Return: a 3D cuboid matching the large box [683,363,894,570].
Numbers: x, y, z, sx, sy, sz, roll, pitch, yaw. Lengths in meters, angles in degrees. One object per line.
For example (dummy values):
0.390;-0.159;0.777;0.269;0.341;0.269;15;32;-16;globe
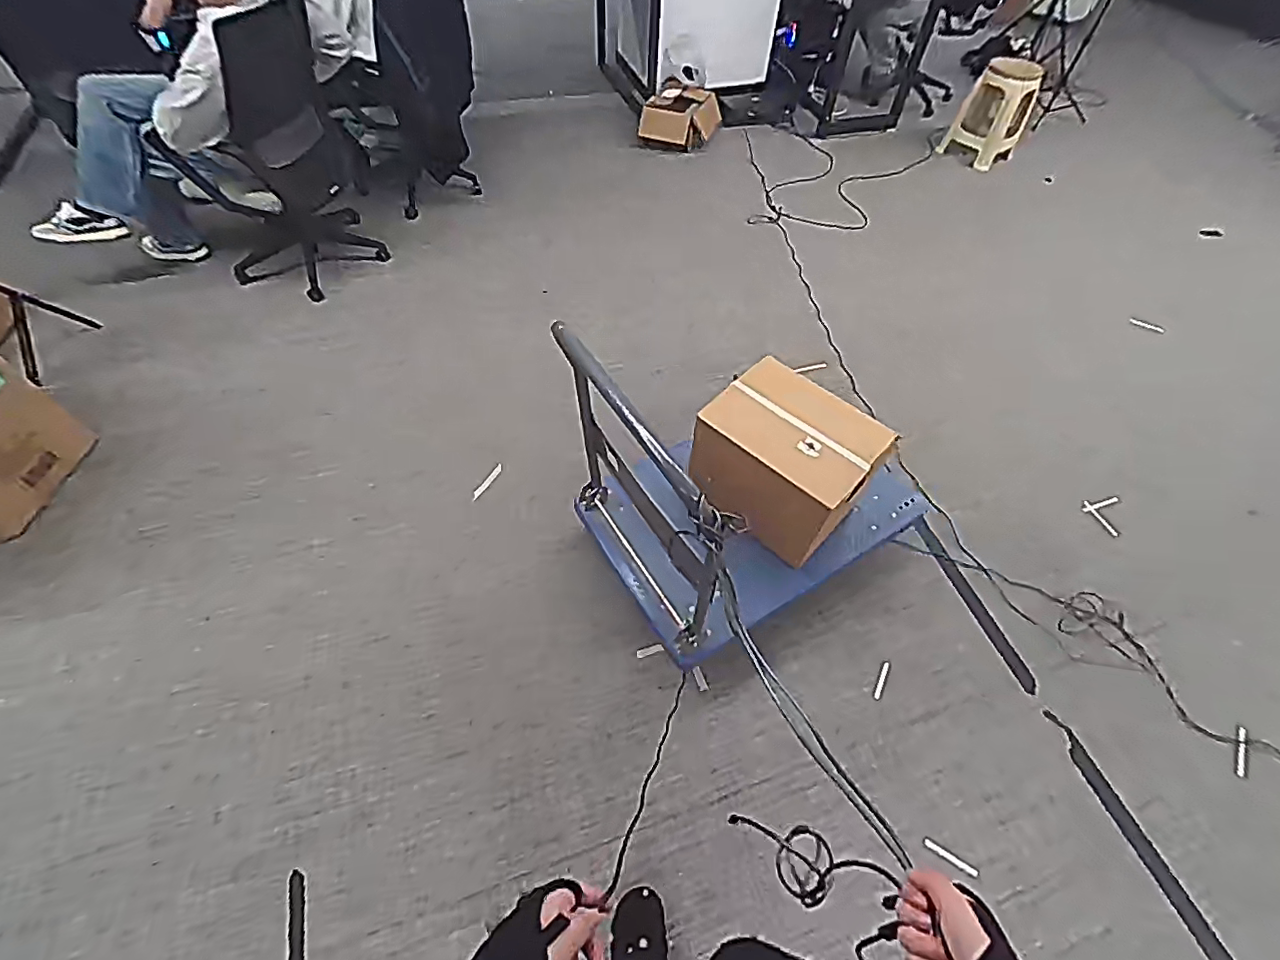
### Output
0.374;-0.039;1.461;0.408;0.320;0.320;39;63;22;large box
